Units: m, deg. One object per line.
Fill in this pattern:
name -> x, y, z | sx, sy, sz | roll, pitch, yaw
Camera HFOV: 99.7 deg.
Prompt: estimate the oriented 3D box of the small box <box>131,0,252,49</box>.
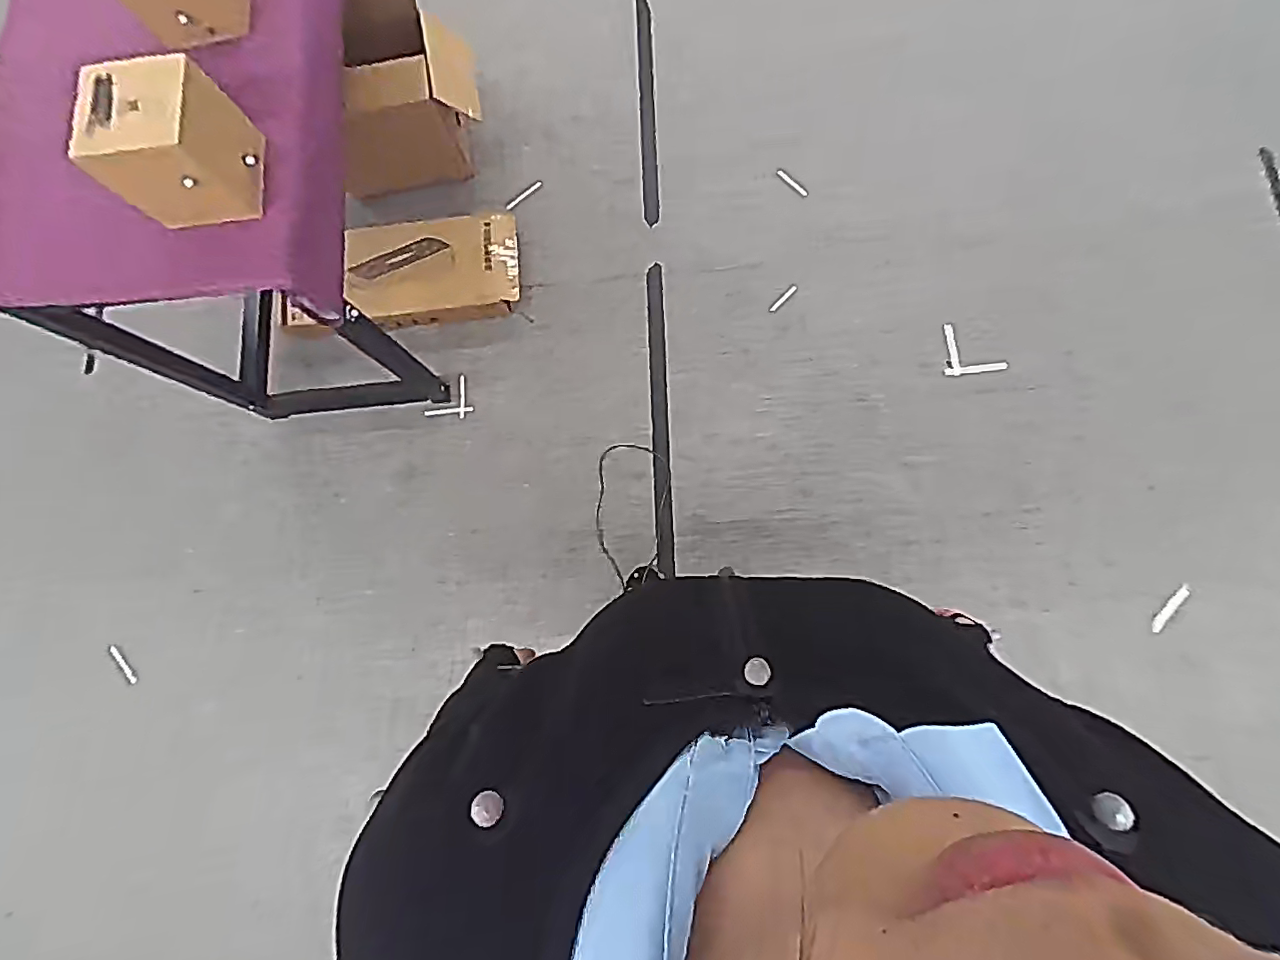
small box -> -0.830, -0.930, 0.967 | 0.168, 0.176, 0.179 | -6, 79, 6
